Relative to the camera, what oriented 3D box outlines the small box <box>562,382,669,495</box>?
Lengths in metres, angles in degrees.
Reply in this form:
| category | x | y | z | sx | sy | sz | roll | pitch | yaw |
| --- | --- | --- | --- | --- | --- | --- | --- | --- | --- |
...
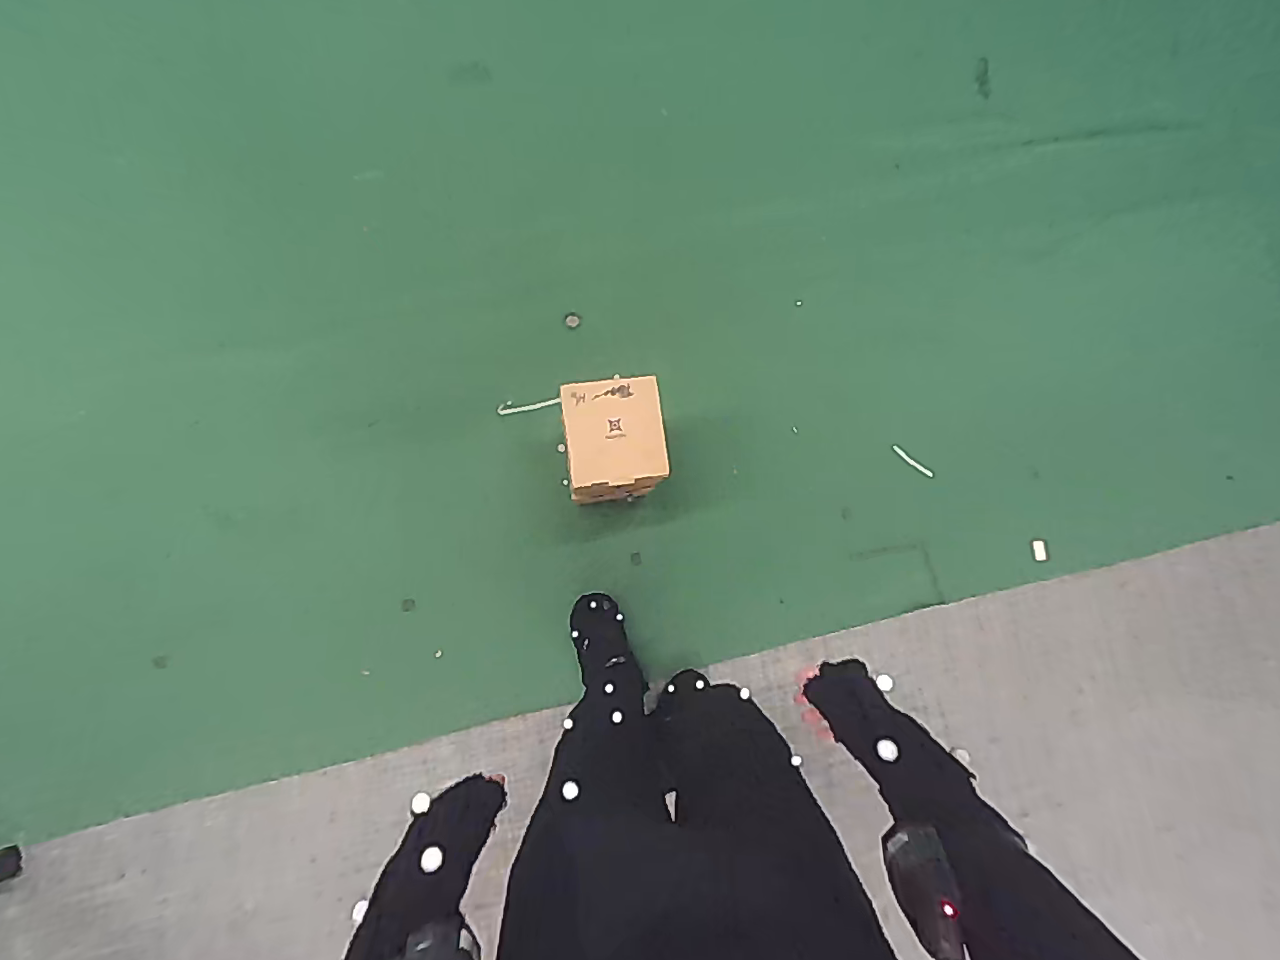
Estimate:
| category | x | y | z | sx | sy | sz | roll | pitch | yaw |
| --- | --- | --- | --- | --- | --- | --- | --- | --- | --- |
| small box | -0.048 | -0.067 | 0.980 | 0.168 | 0.176 | 0.179 | -7 | 86 | -7 |

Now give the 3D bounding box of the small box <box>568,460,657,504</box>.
| category | x | y | z | sx | sy | sz | roll | pitch | yaw |
| --- | --- | --- | --- | --- | --- | --- | --- | --- | --- |
| small box | -0.065 | -0.043 | 1.122 | 0.168 | 0.176 | 0.179 | -6 | 85 | -8 |
